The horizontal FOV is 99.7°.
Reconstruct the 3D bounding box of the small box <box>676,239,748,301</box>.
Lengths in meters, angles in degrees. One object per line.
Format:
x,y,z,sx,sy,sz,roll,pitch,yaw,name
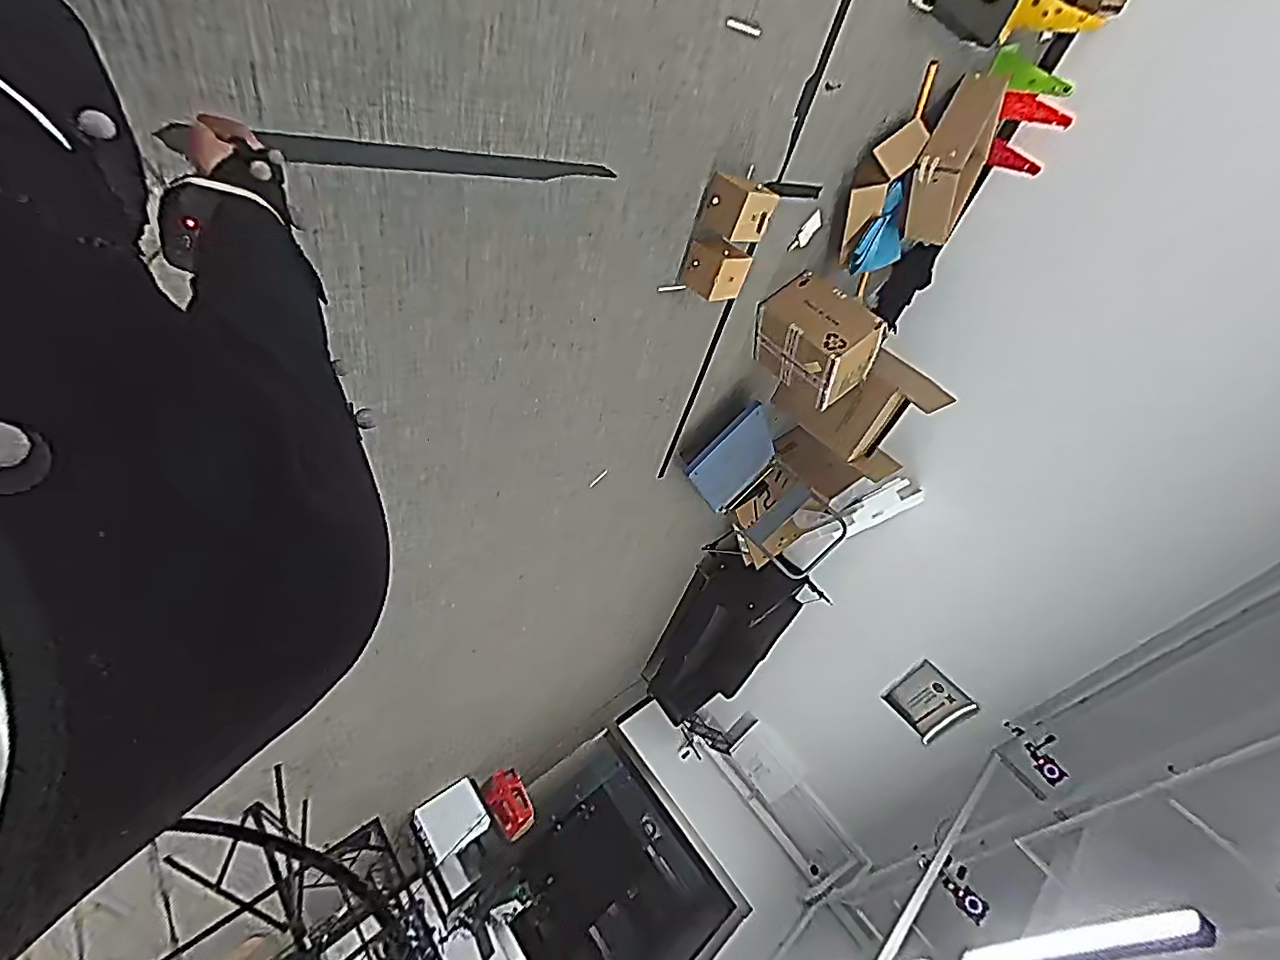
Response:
0.273,-0.806,2.069,0.179,0.176,0.168,-21,146,-38,small box

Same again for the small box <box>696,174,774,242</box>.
0.332,-0.962,1.915,0.179,0.176,0.168,-19,145,-40,small box
